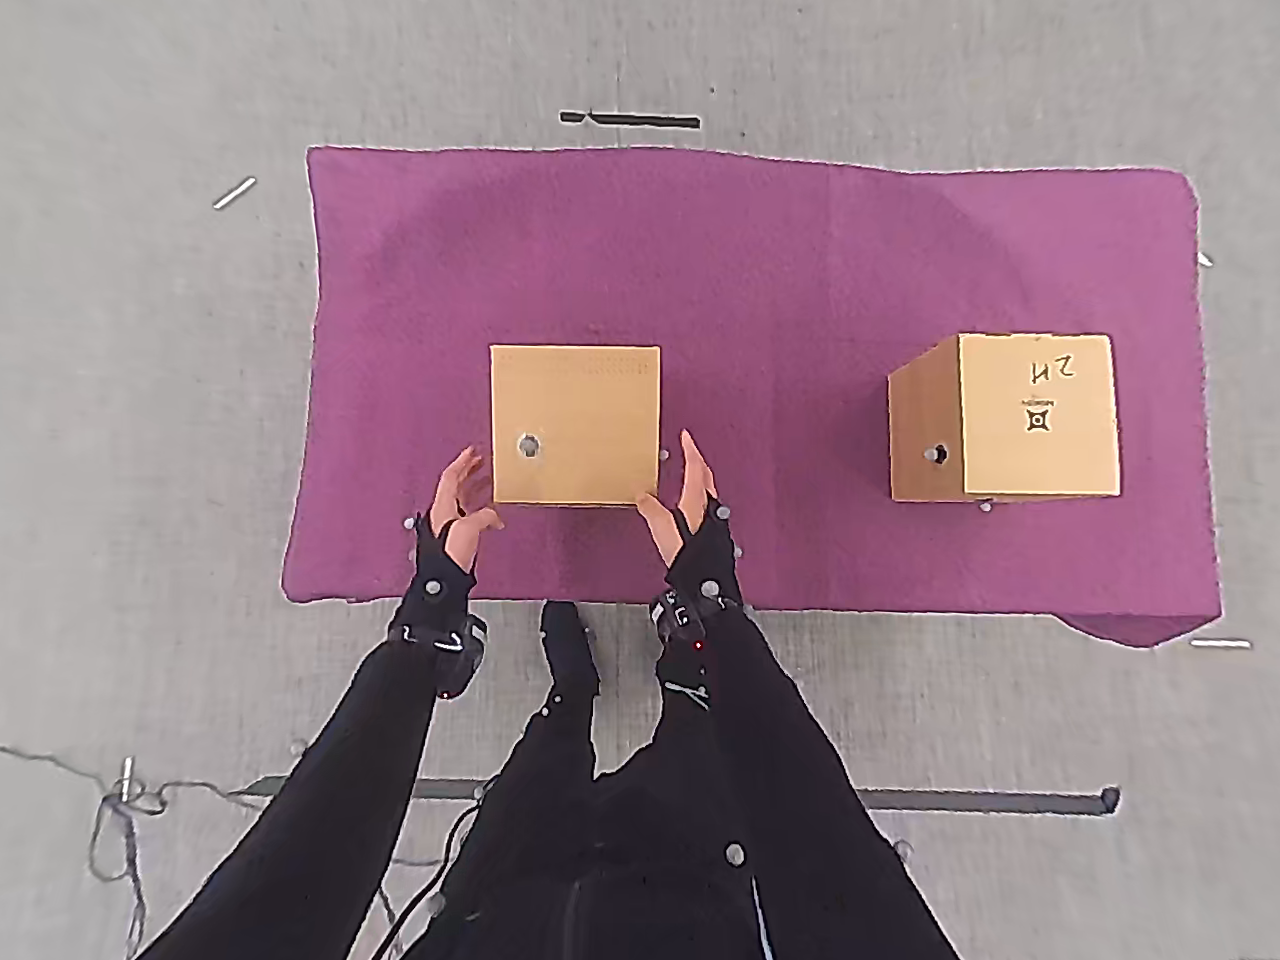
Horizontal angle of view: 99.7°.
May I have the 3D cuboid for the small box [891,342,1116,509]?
[{"bbox_3d":[0.424,-0.054,0.658,0.168,0.176,0.179,1,85,0],"label":"small box"}]
